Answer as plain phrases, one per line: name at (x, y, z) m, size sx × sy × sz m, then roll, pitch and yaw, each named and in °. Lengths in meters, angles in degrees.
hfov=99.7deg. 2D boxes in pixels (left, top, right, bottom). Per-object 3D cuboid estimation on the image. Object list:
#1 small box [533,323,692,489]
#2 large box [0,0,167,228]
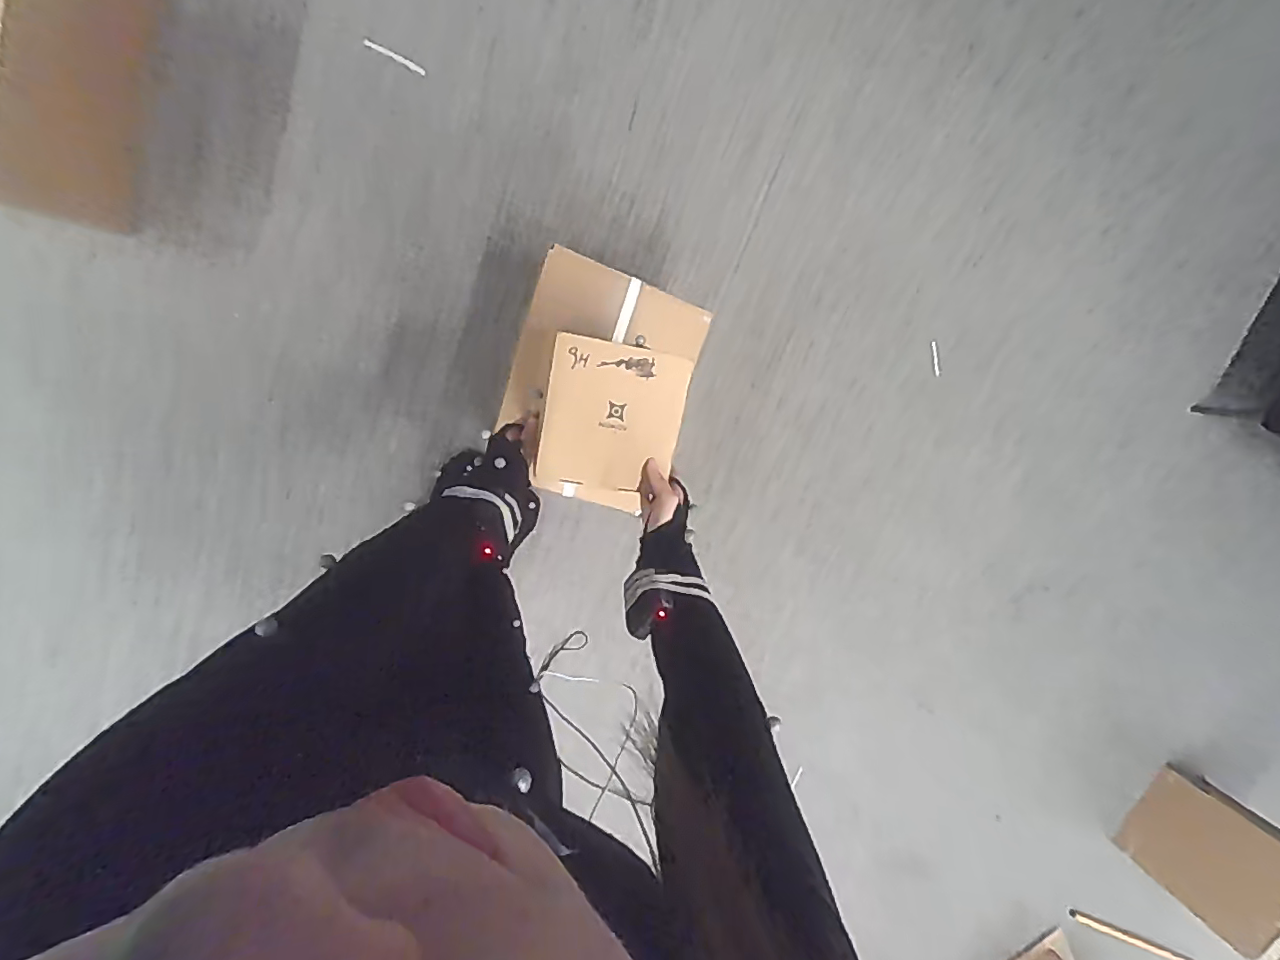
small box at (-0.046, -0.105, 0.723) m, size 0.168 × 0.176 × 0.179 m, roll 9°, pitch 105°, yaw -14°
large box at (-0.974, -0.644, 0.776) m, size 0.320 × 0.320 × 0.408 m, roll 17°, pitch 100°, yaw -17°
